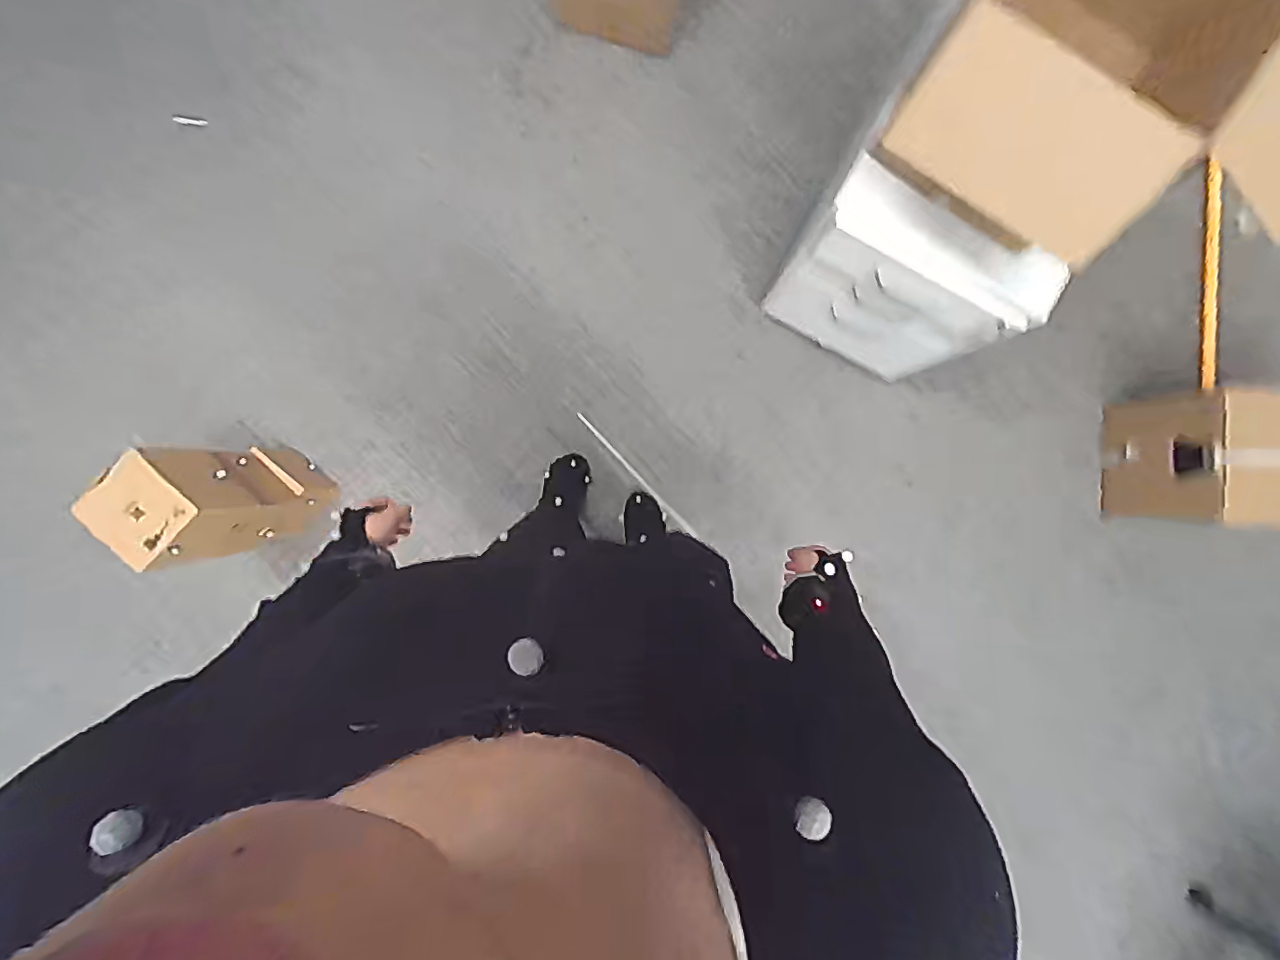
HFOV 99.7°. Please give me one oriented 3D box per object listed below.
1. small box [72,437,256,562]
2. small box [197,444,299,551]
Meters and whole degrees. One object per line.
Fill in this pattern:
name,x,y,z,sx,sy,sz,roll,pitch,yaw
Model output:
small box,-0.929,0.039,1.073,0.168,0.176,0.179,-45,90,0
small box,-0.941,0.039,1.237,0.168,0.176,0.179,-45,92,0
